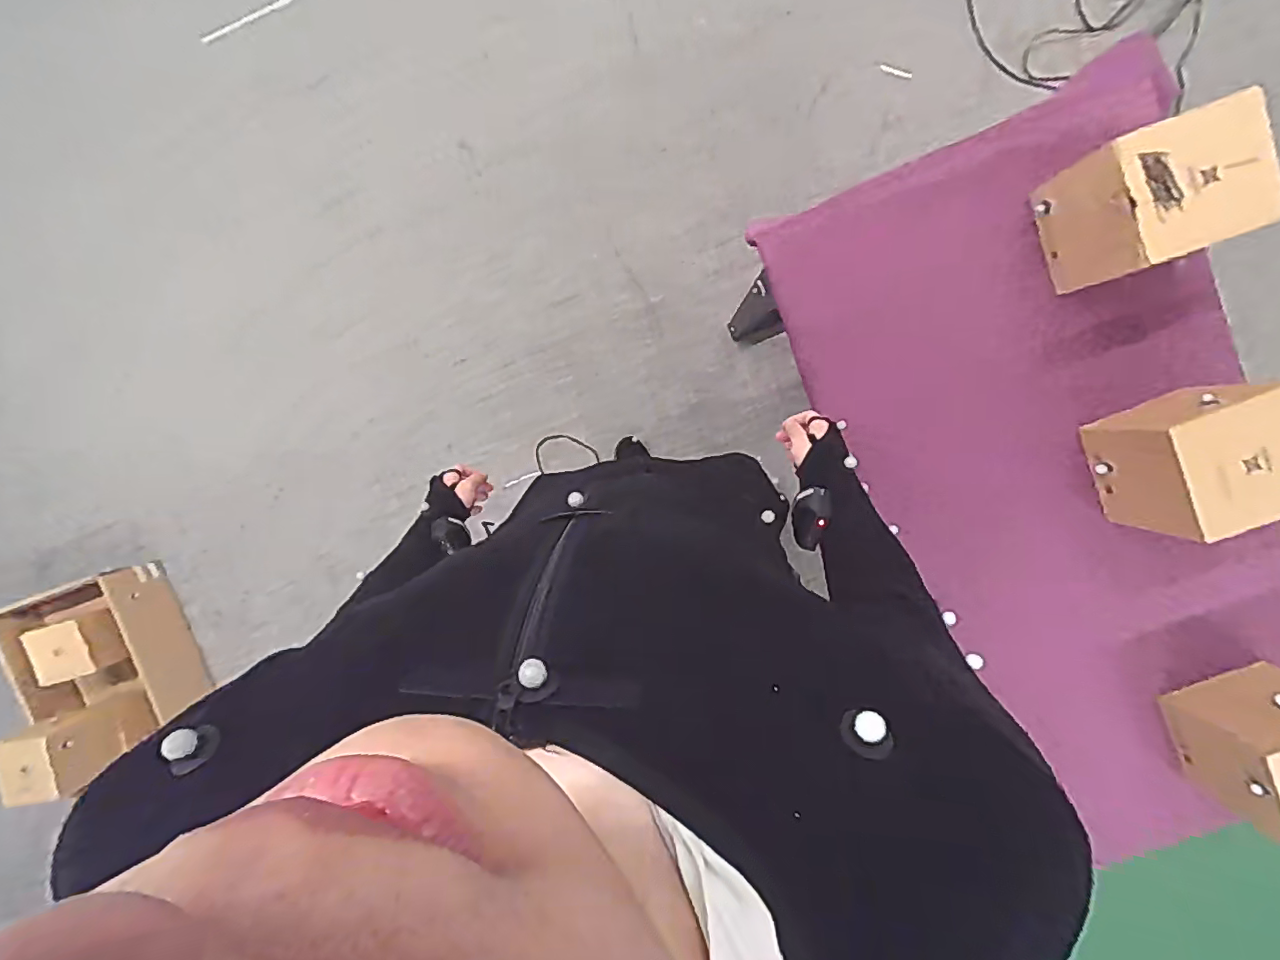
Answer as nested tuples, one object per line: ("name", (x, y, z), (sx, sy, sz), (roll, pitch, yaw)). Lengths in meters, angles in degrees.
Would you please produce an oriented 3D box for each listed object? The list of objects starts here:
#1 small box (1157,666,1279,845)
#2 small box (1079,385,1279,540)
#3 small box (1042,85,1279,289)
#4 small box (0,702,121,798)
("small box", (0.964, 0.410, 0.821), (0.179, 0.176, 0.168), (-22, 94, 4))
("small box", (0.802, -0.032, 0.784), (0.179, 0.176, 0.168), (-21, 94, 5))
("small box", (0.701, -0.384, 0.747), (0.179, 0.176, 0.168), (-19, 96, 5))
("small box", (-1.593, 0.729, 1.482), (0.168, 0.176, 0.179), (-9, 94, 5))
